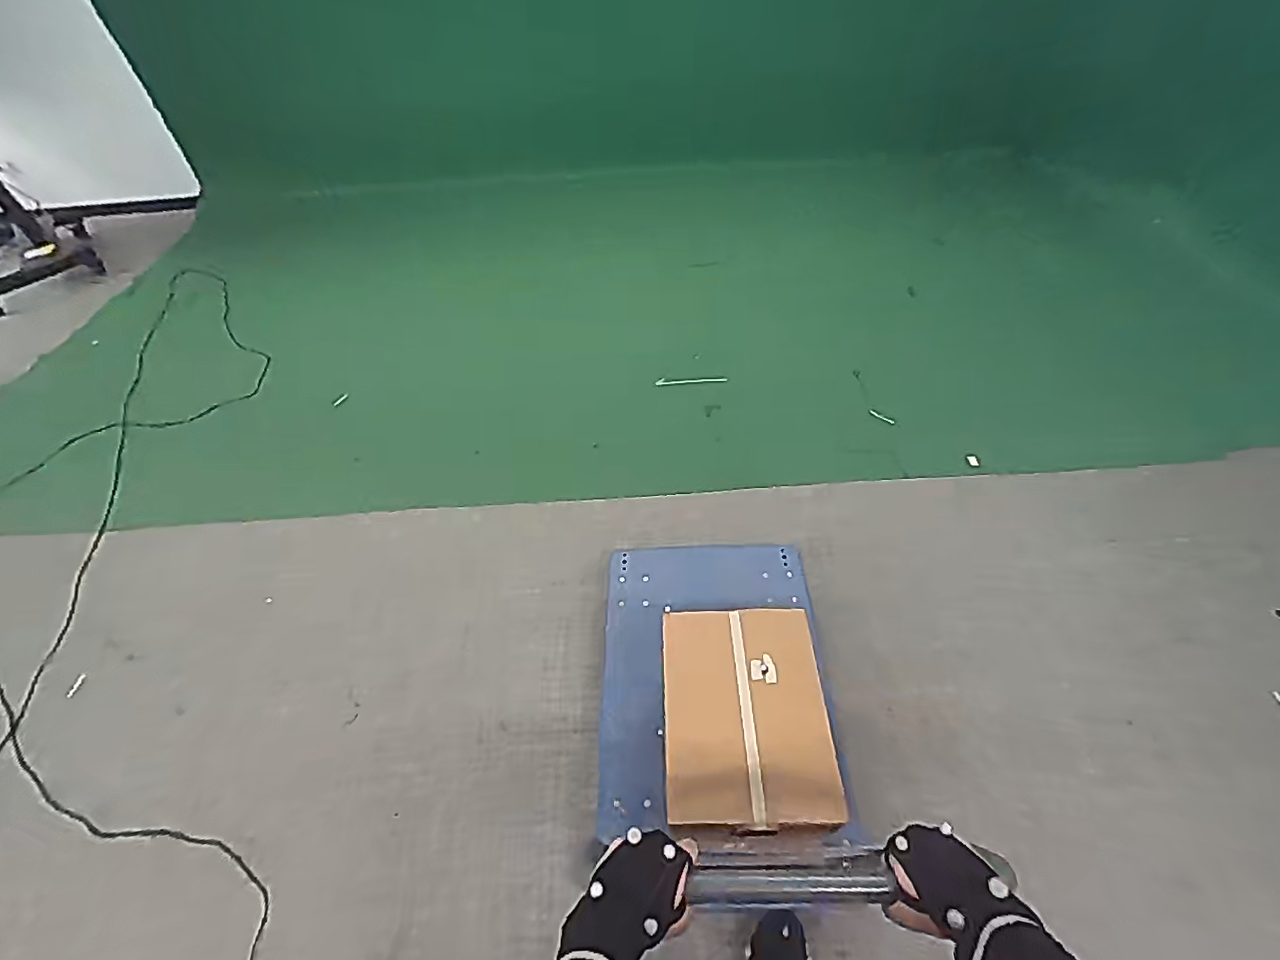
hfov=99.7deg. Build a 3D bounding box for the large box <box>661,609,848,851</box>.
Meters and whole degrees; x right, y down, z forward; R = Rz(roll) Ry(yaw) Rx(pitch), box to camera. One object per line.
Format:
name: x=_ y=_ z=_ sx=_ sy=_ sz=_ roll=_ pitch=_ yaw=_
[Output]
large box: x=0.213 y=0.539 z=1.173 sx=0.320 sy=0.320 sz=0.408 roll=-2 pitch=48 yaw=2
